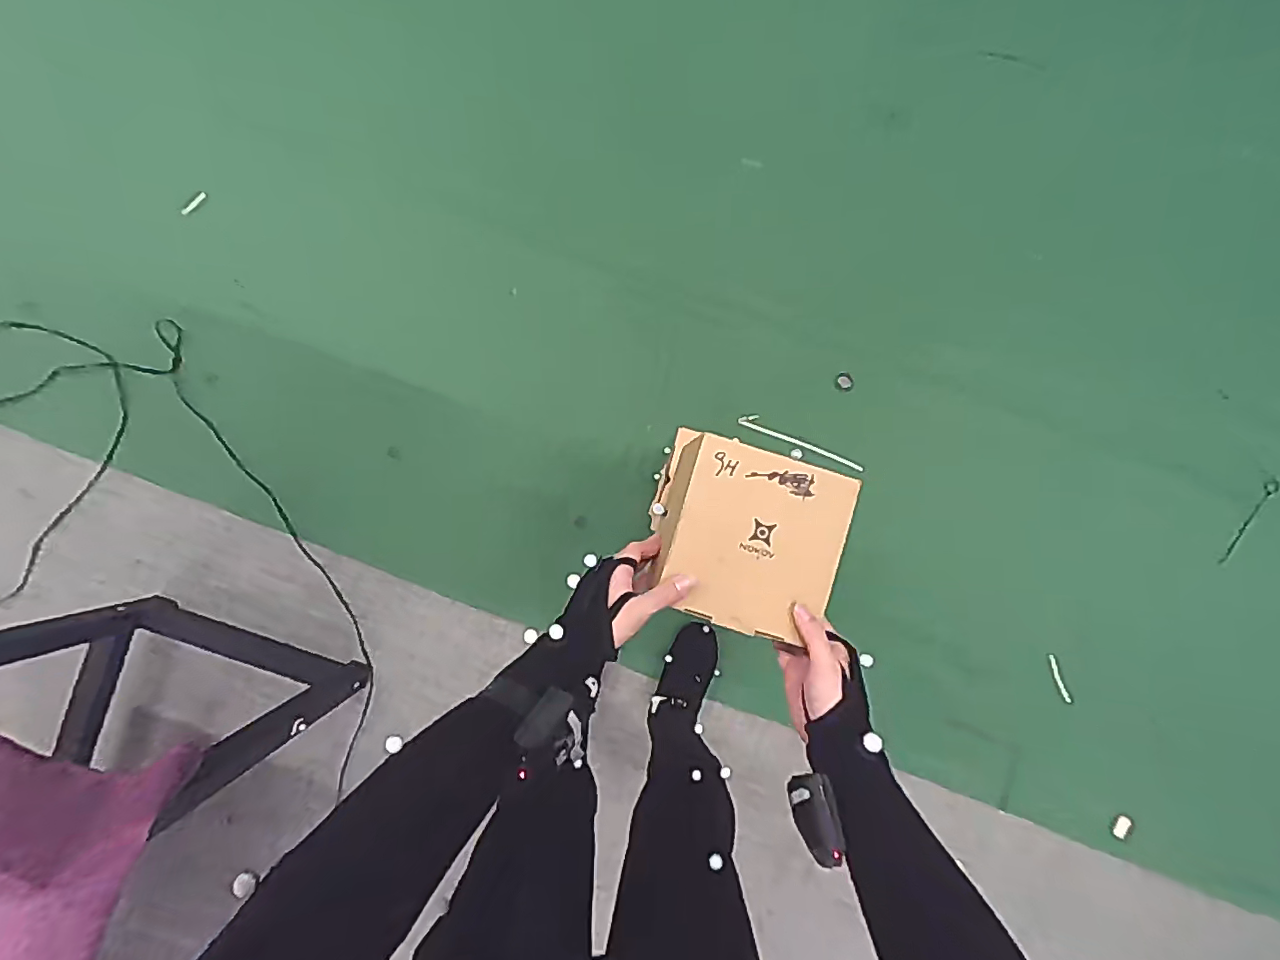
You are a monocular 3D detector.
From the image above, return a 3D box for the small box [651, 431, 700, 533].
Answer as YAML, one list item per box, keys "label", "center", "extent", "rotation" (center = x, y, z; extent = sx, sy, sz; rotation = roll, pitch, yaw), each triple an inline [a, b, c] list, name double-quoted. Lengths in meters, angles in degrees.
- label: "small box"
  center: [0.125, 0.029, 0.895]
  extent: [0.179, 0.176, 0.168]
  rotation: [16, 90, 2]

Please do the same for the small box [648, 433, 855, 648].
- label: "small box"
  center: [0.110, 0.062, 0.611]
  extent: [0.168, 0.176, 0.179]
  rotation: [17, 88, -2]
